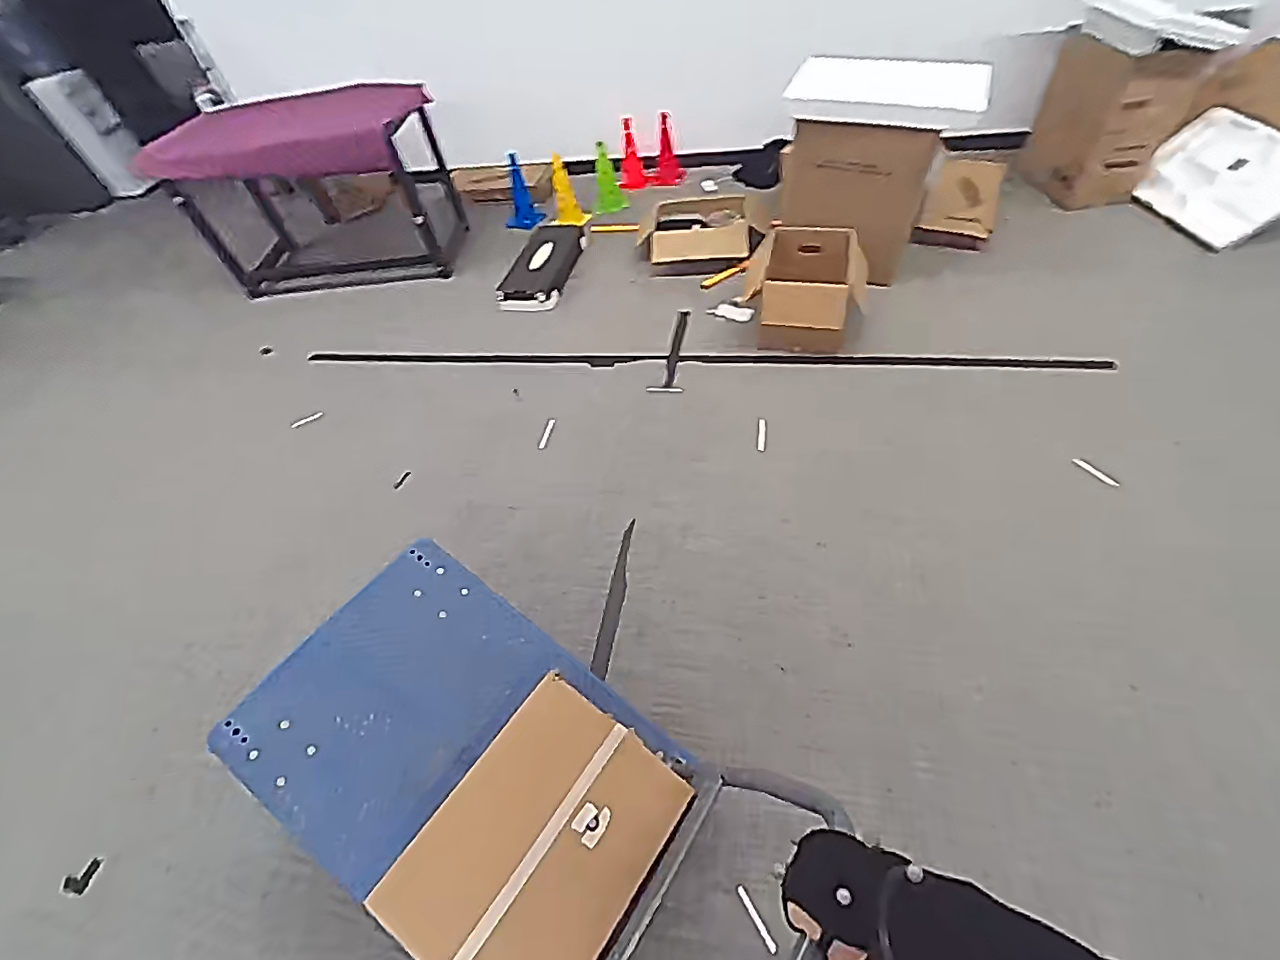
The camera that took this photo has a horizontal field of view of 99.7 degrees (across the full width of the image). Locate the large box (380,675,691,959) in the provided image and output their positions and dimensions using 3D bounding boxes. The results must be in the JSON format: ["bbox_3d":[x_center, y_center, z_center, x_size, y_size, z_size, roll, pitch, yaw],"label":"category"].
[{"bbox_3d":[-0.166,0.637,0.968,0.320,0.320,0.408,35,61,10],"label":"large box"}]
